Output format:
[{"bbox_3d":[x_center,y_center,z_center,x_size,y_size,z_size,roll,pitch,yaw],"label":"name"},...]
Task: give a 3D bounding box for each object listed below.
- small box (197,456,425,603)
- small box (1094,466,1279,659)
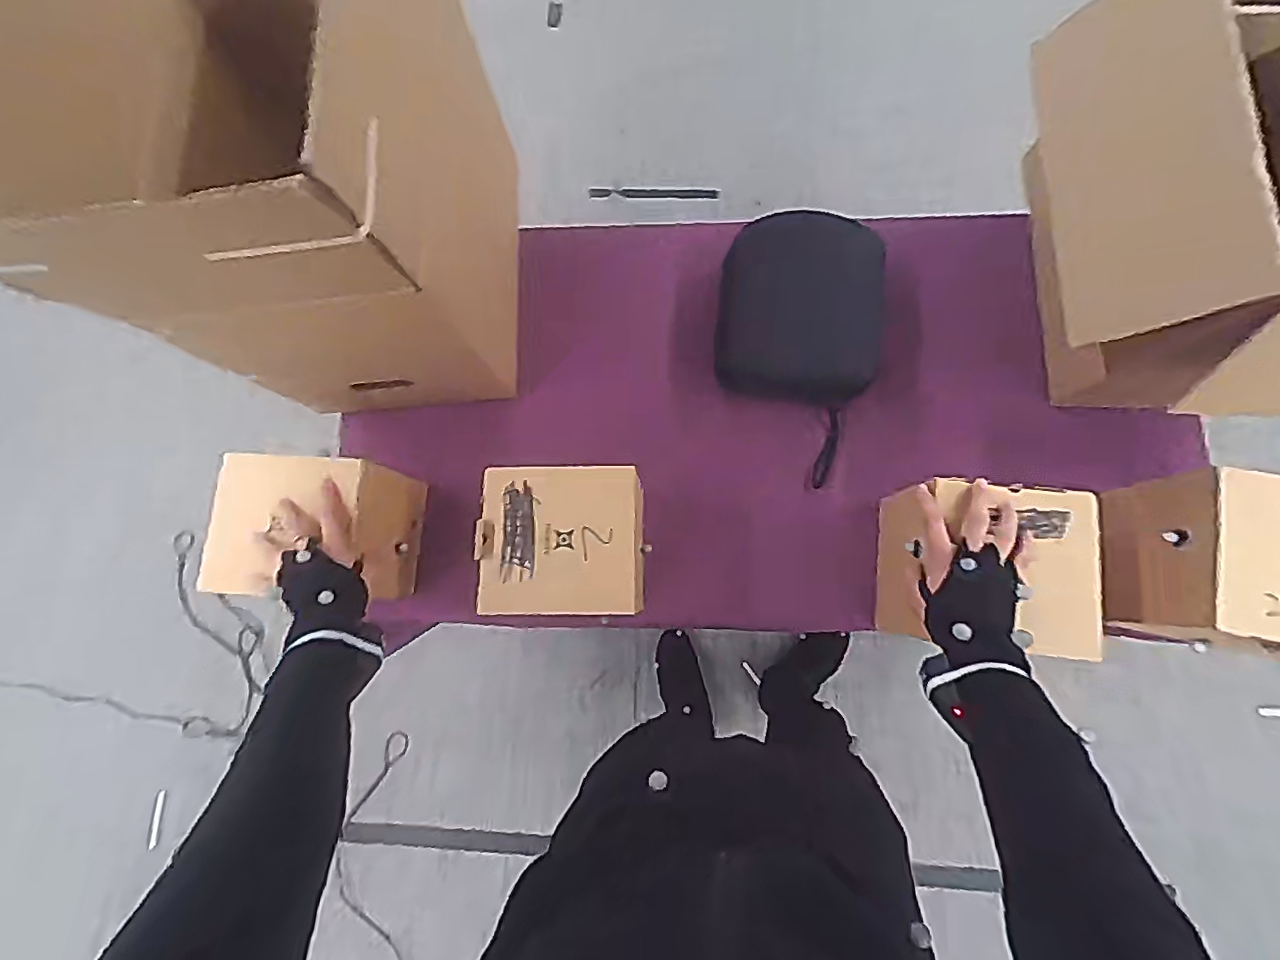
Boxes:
[{"bbox_3d":[-0.409,0.071,0.703,0.179,0.176,0.168,3,79,3],"label":"small box"},{"bbox_3d":[0.668,0.100,0.619,0.168,0.176,0.179,11,80,7],"label":"small box"}]
